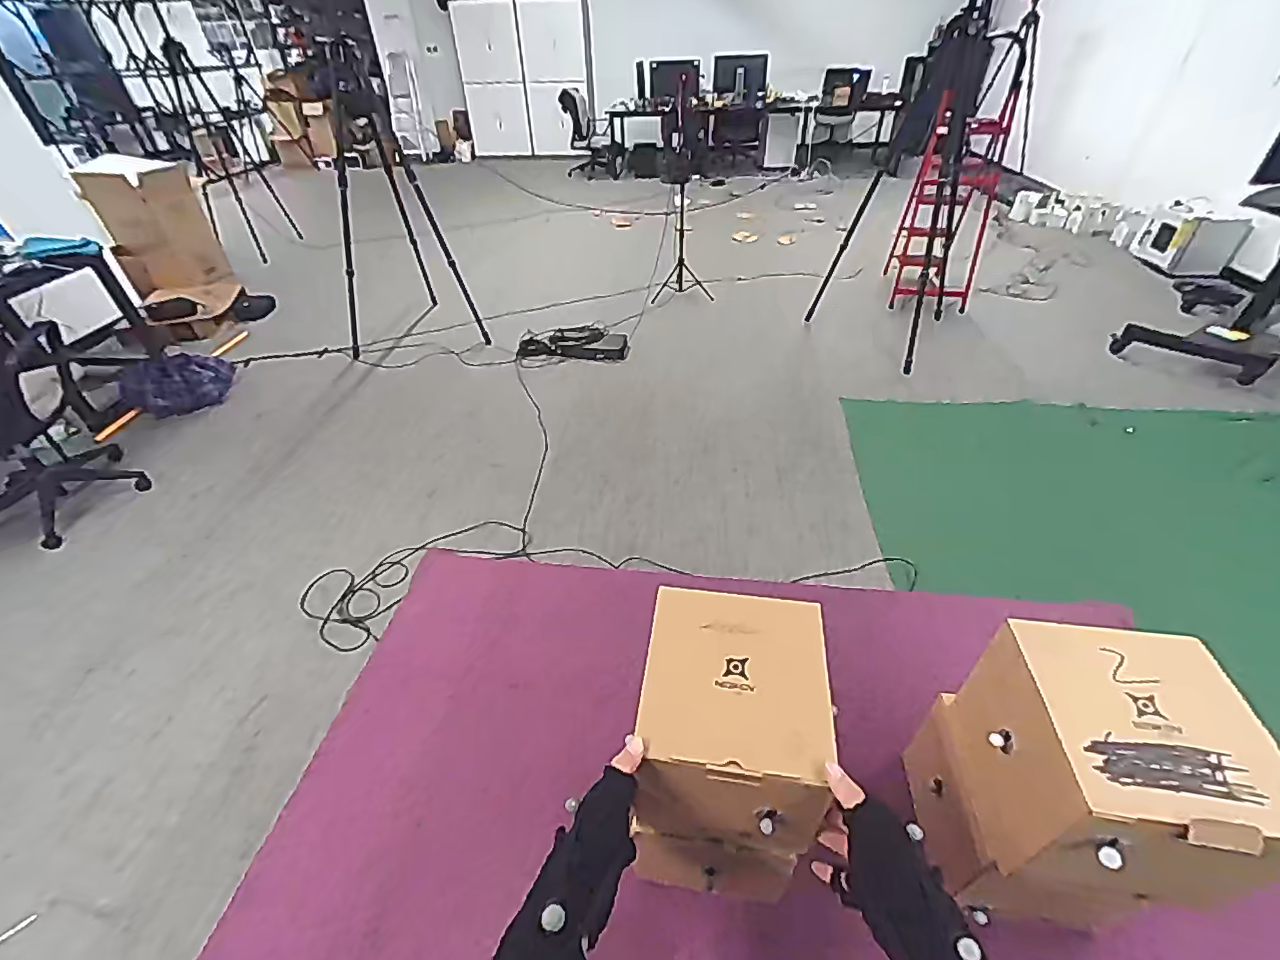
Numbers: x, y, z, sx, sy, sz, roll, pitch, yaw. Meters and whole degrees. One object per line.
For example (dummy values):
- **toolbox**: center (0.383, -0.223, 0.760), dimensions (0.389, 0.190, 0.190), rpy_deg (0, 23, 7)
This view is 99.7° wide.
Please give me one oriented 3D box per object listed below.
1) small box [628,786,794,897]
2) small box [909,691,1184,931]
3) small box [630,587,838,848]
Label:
- **small box**: center (0.085, 0.360, 0.640), dimensions (0.168, 0.176, 0.179), rpy_deg (6, 41, 8)
- **small box**: center (0.425, 0.372, 0.609), dimensions (0.168, 0.176, 0.179), rpy_deg (7, 41, 8)
- **small box**: center (0.089, 0.234, 0.536), dimensions (0.168, 0.176, 0.179), rpy_deg (5, 41, 8)
